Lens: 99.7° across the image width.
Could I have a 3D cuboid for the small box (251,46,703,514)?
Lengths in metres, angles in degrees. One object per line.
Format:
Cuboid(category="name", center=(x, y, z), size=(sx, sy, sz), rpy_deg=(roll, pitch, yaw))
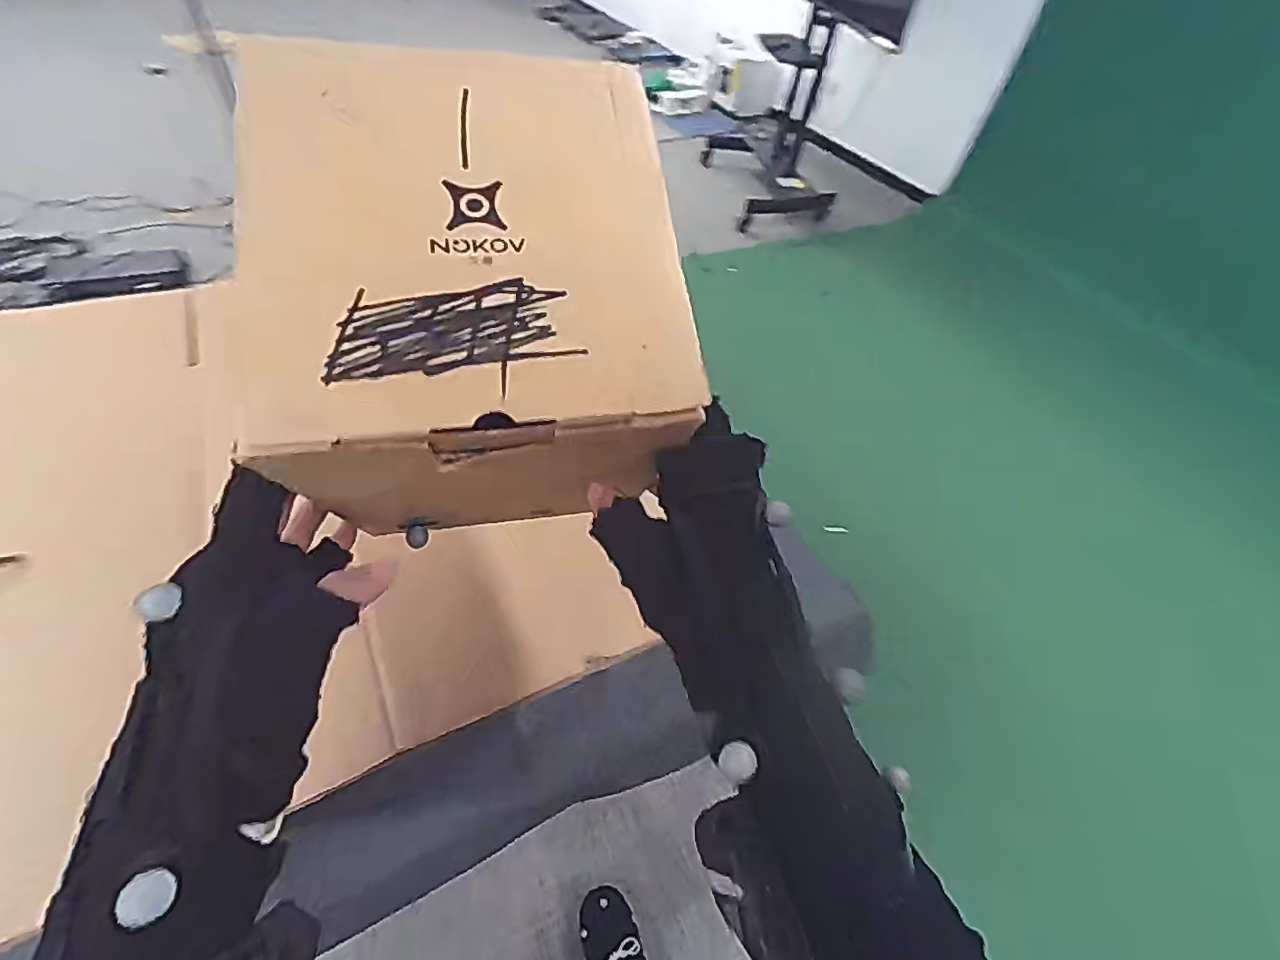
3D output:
Cuboid(category="small box", center=(-0.077, -0.082, 0.295), size=(0.168, 0.176, 0.179), rpy_deg=(-5, 76, -12))
